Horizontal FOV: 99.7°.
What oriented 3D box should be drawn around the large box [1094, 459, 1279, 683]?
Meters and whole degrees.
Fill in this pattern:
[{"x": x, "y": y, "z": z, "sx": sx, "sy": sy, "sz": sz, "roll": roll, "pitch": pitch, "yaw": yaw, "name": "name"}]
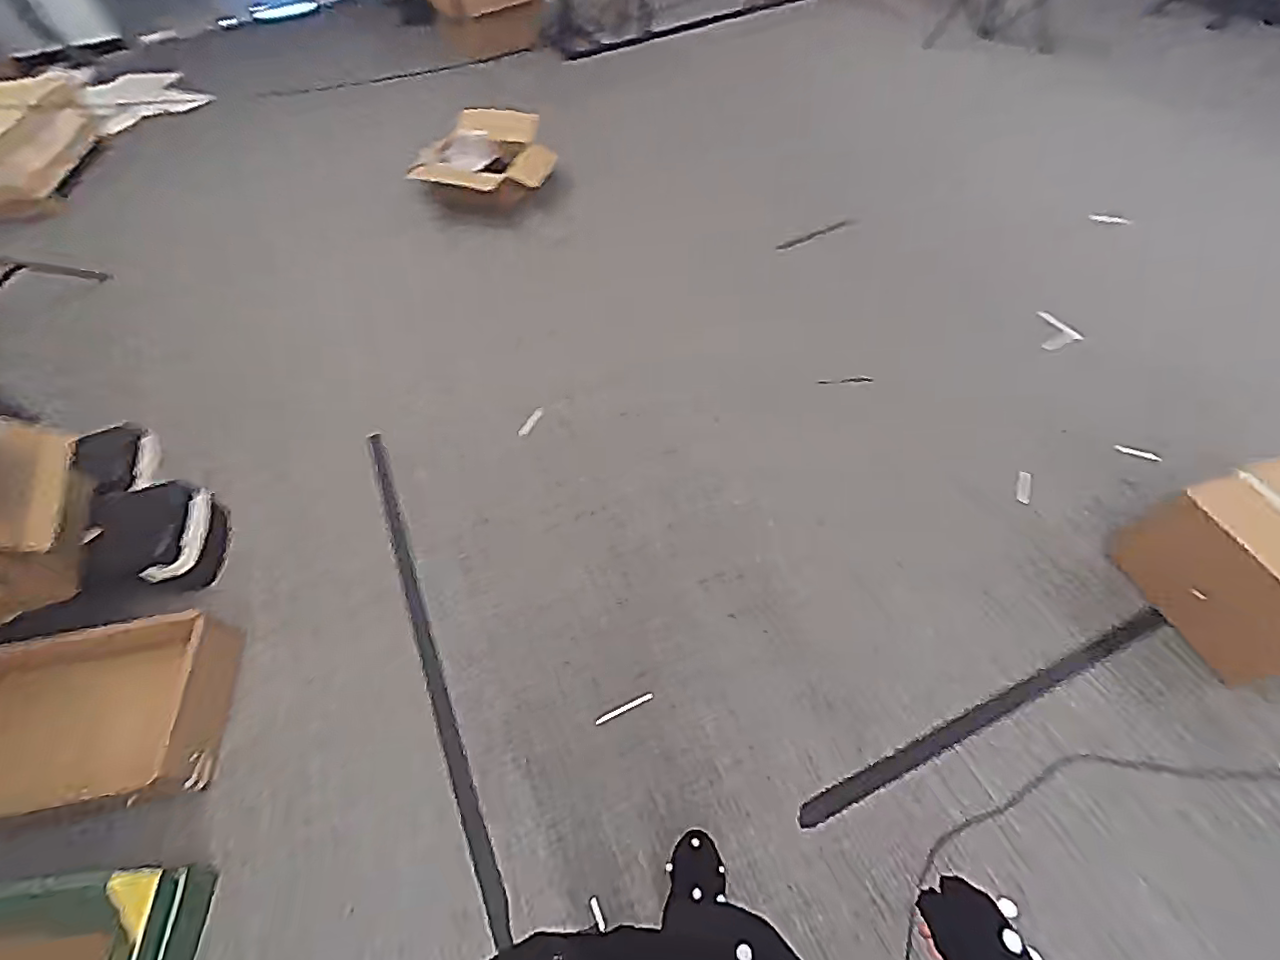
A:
[{"x": 1.481, "y": 0.223, "z": 1.330, "sx": 0.320, "sy": 0.320, "sz": 0.408, "roll": -17, "pitch": 57, "yaw": -7, "name": "large box"}]
